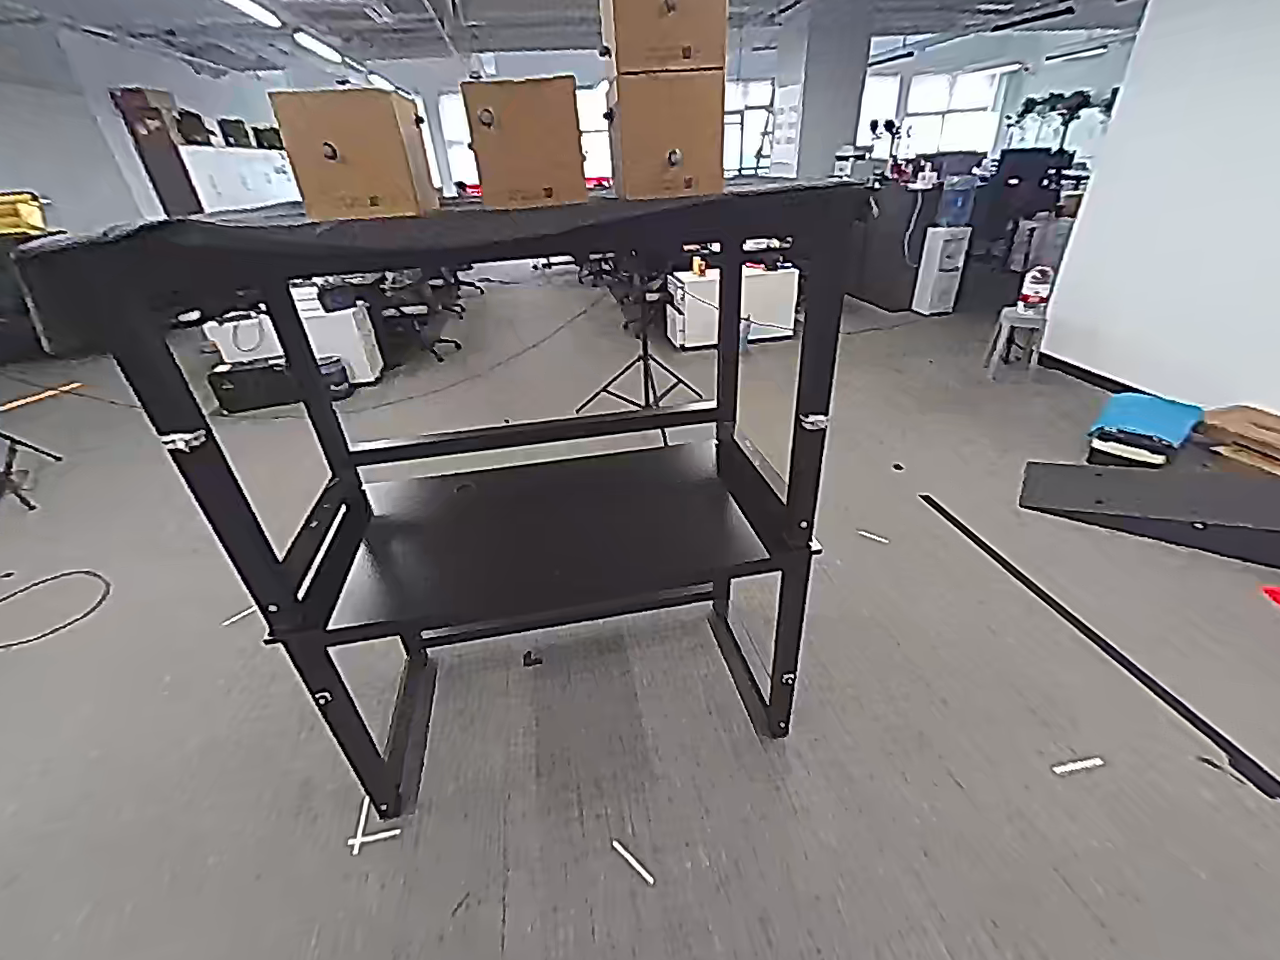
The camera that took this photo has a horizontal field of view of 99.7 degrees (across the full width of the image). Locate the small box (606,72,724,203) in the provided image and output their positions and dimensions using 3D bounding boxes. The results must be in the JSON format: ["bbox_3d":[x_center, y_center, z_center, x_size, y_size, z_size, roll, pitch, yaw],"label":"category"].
[{"bbox_3d":[0.037,-0.563,0.905,0.168,0.176,0.179,-8,30,-6],"label":"small box"}]

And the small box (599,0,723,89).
[{"bbox_3d":[0.028,-0.705,0.823,0.168,0.176,0.179,-7,31,-6],"label":"small box"}]

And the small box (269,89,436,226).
[{"bbox_3d":[-0.439,-0.505,0.863,0.168,0.176,0.179,-7,29,-5],"label":"small box"}]
